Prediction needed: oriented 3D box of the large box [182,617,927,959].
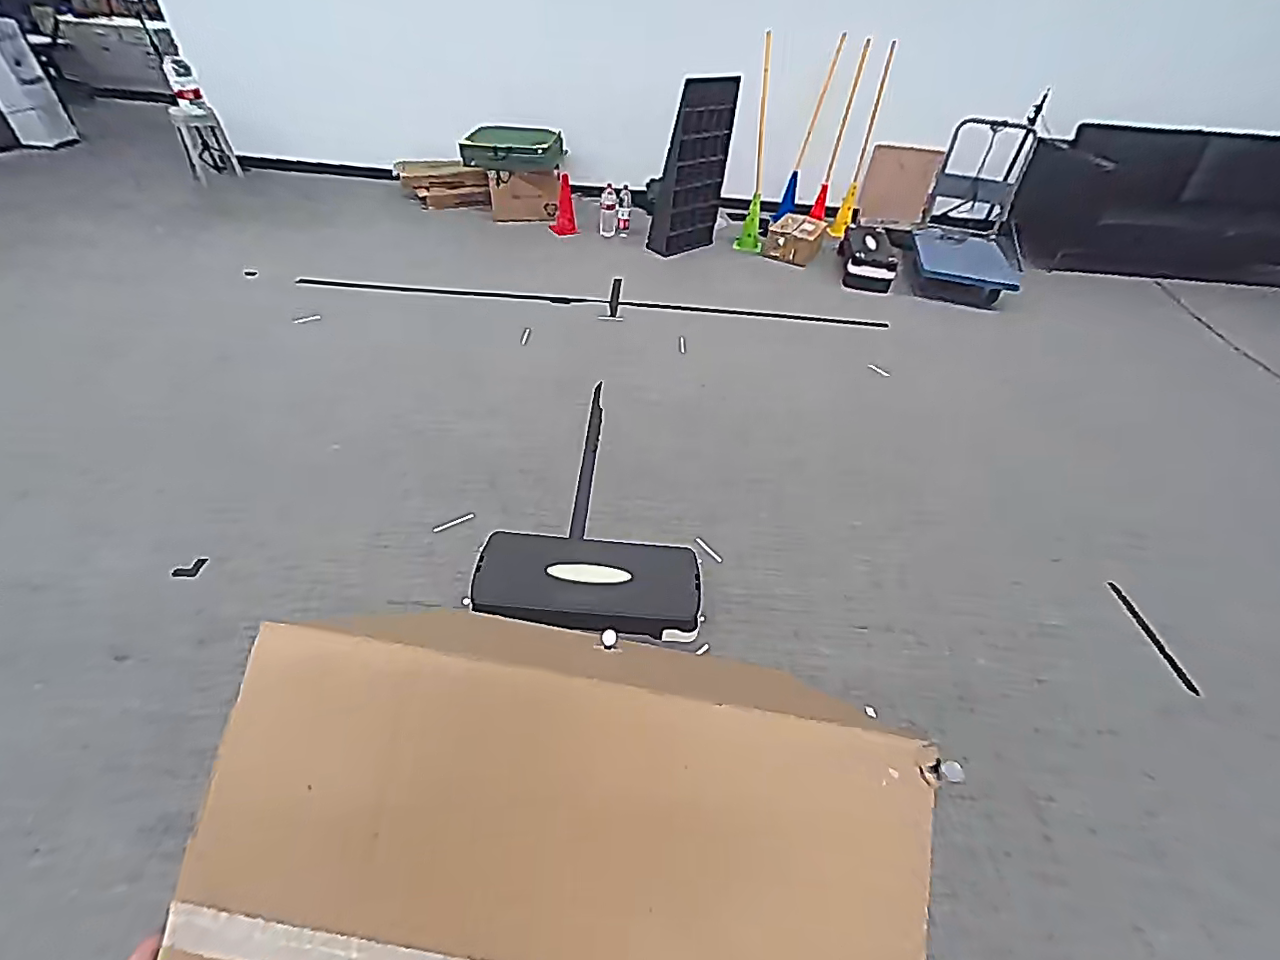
[{"bbox_3d":[-0.051,0.298,0.439,0.408,0.320,0.320,10,79,1],"label":"large box"}]
